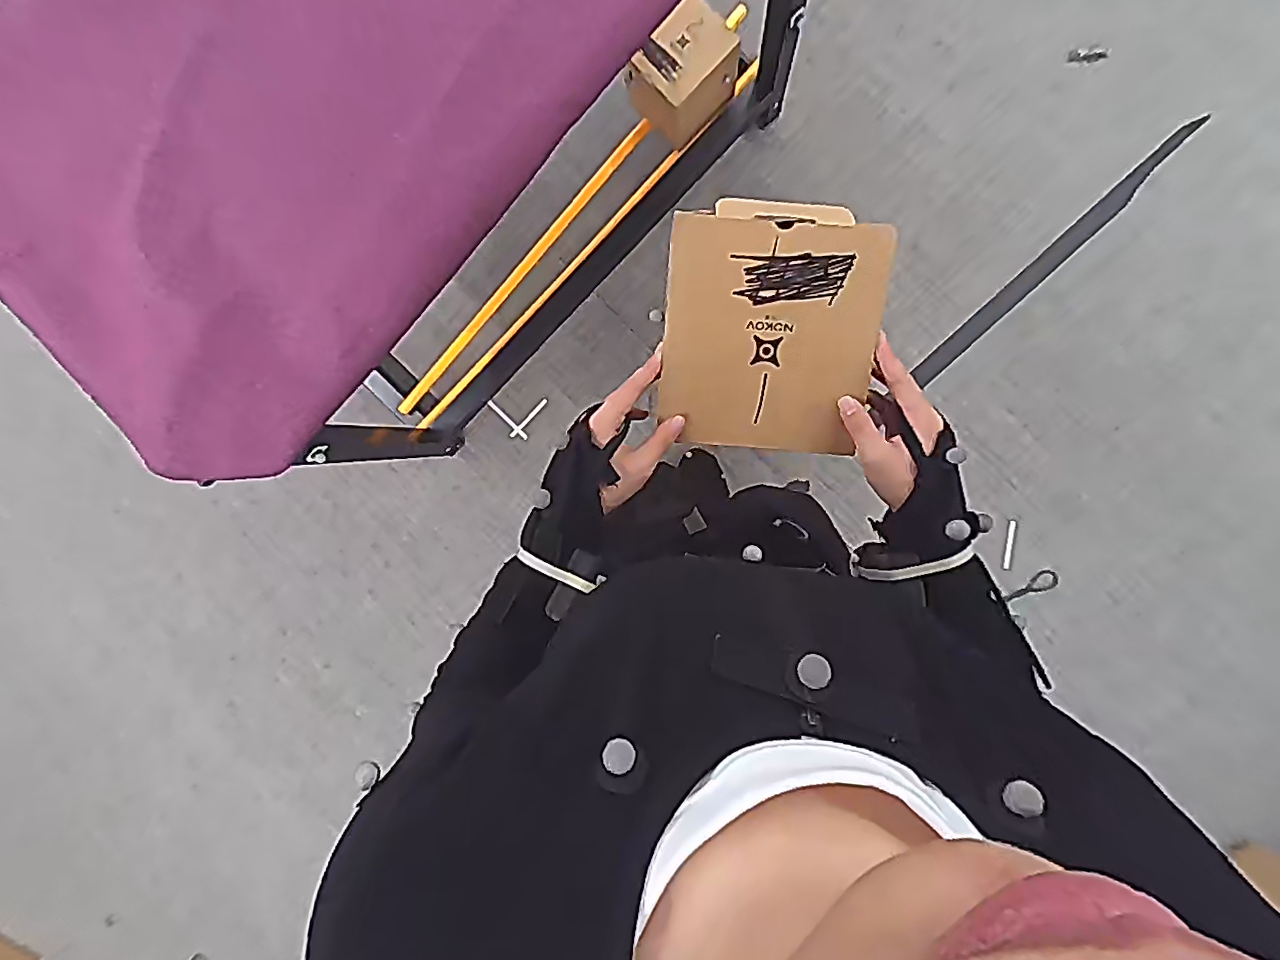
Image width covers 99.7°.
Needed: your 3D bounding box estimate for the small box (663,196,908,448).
[{"bbox_3d":[0.110,-0.135,0.489,0.168,0.176,0.179,5,105,1],"label":"small box"}]
